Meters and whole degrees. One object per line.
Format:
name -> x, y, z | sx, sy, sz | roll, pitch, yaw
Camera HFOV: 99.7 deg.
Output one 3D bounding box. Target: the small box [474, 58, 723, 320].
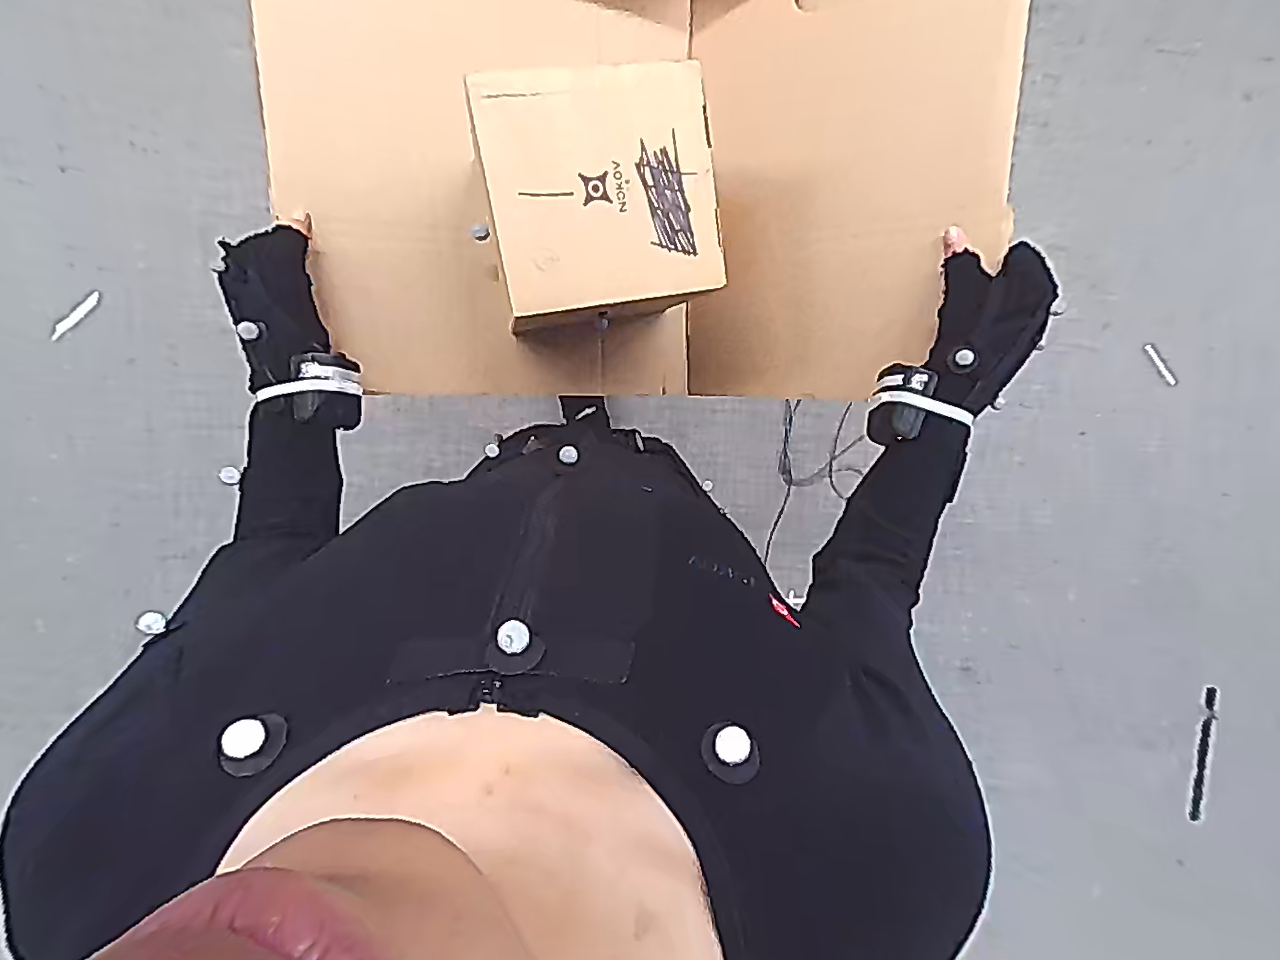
small box -> -0.043, -0.244, 0.491 | 0.179, 0.176, 0.168 | -12, 104, -11
